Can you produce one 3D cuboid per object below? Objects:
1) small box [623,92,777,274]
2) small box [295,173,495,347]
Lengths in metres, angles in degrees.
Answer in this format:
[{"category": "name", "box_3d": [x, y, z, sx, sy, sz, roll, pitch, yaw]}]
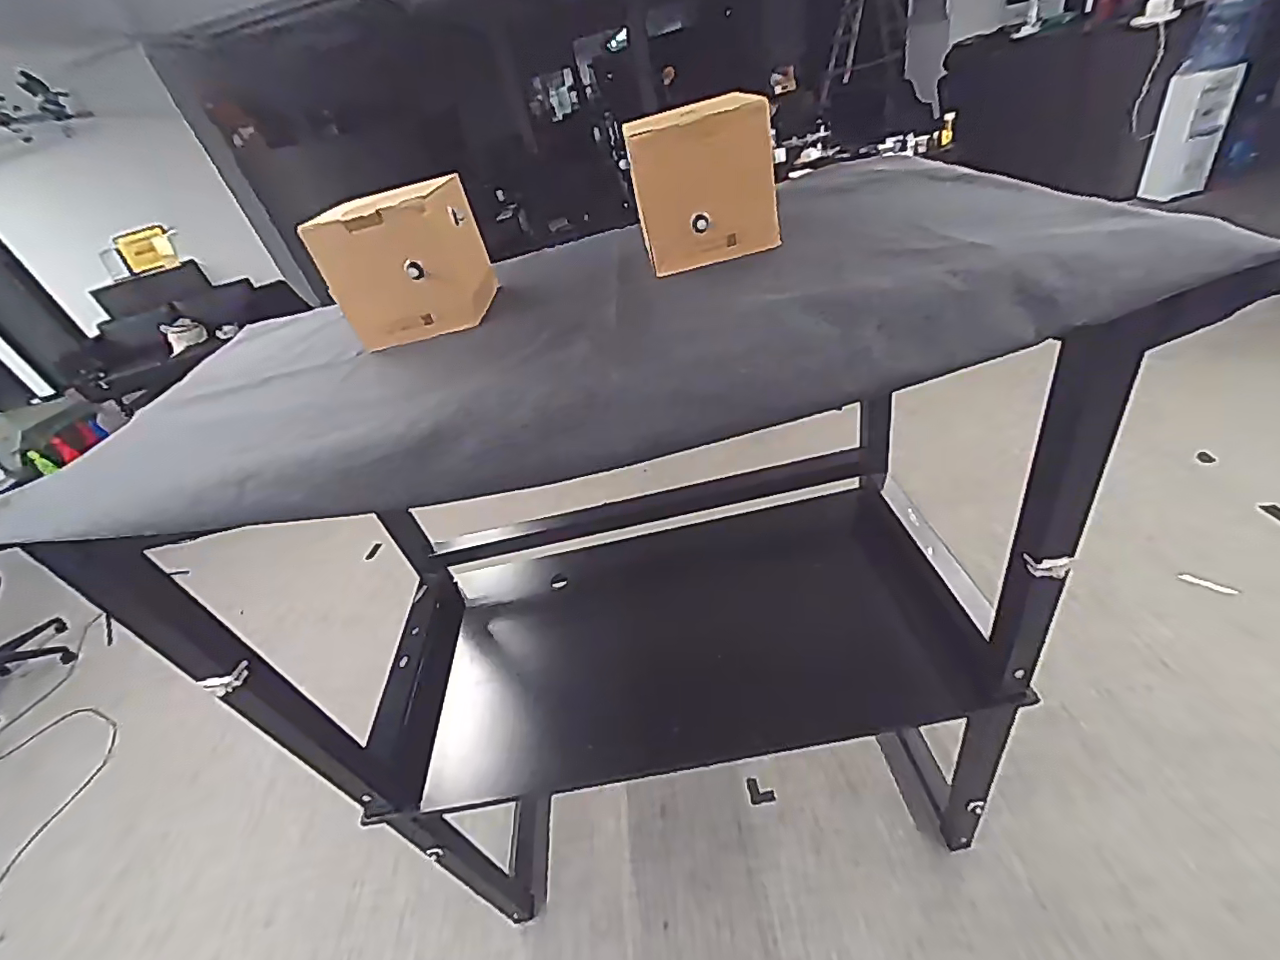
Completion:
[{"category": "small box", "box_3d": [0.077, -0.394, 0.721, 0.168, 0.176, 0.179, -13, 38, 5]}, {"category": "small box", "box_3d": [-0.317, -0.298, 0.747, 0.168, 0.176, 0.179, -11, 38, 6]}]
